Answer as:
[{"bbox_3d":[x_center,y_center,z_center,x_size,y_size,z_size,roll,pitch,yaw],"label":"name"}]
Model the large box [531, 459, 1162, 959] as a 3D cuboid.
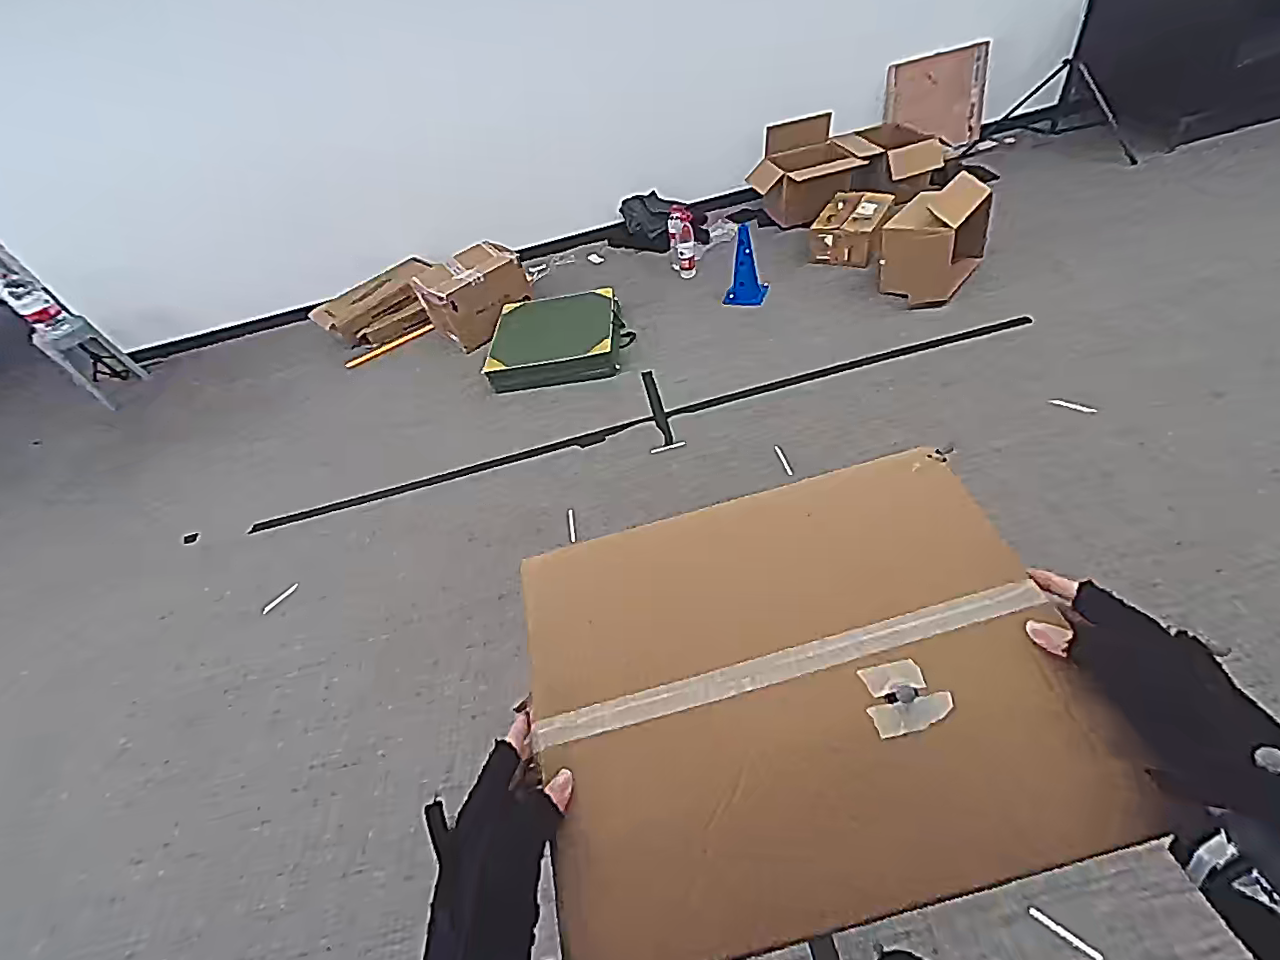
[{"bbox_3d":[0.140,0.237,0.554,0.408,0.320,0.320,-16,54,0],"label":"large box"}]
